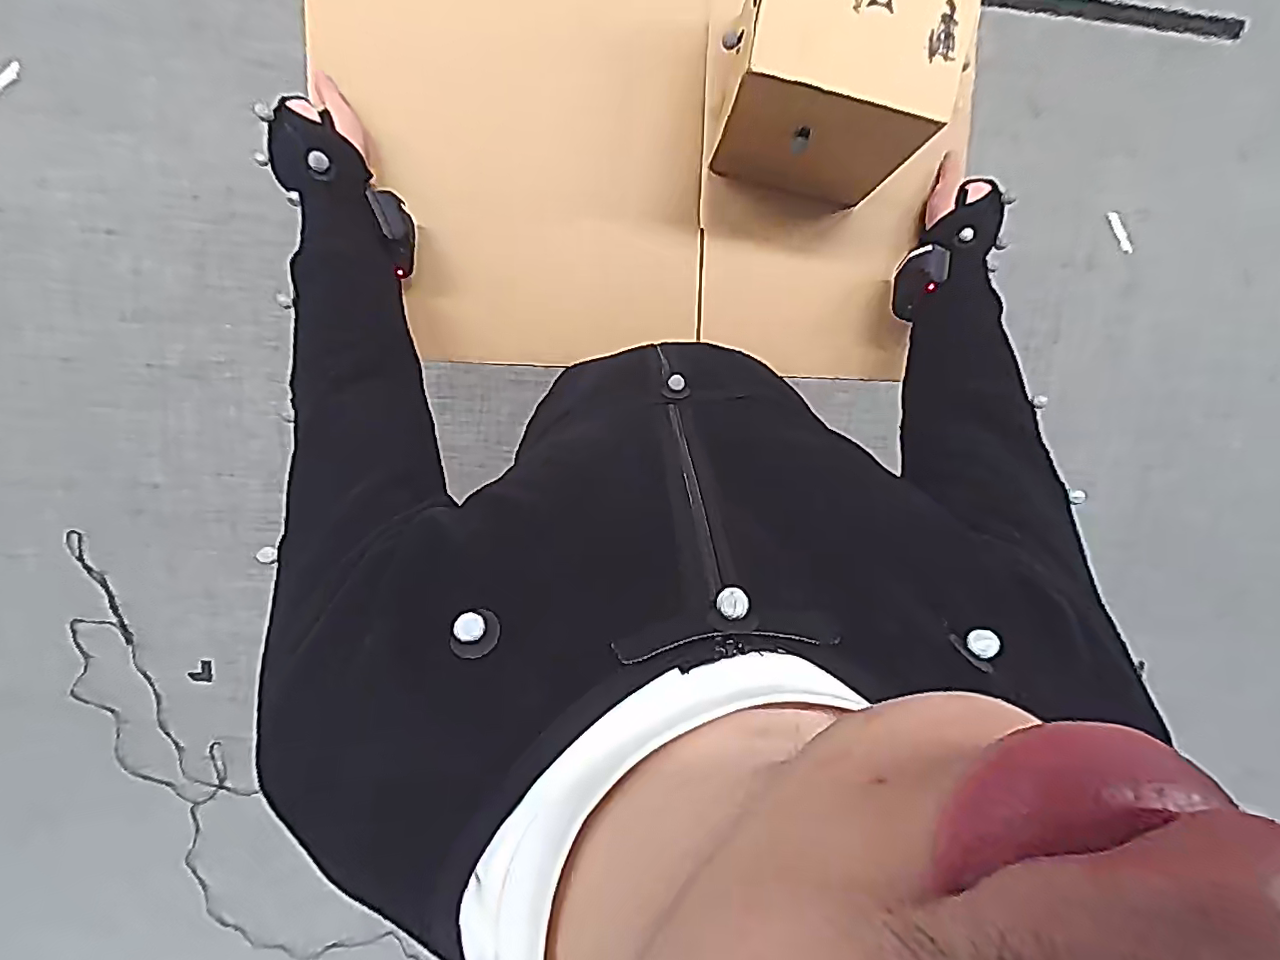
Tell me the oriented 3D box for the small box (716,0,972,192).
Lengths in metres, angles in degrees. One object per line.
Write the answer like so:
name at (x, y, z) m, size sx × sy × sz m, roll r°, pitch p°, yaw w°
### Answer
small box at (0.181, -0.405, 0.516) m, size 0.179 × 0.176 × 0.168 m, roll 11°, pitch 95°, yaw -3°
